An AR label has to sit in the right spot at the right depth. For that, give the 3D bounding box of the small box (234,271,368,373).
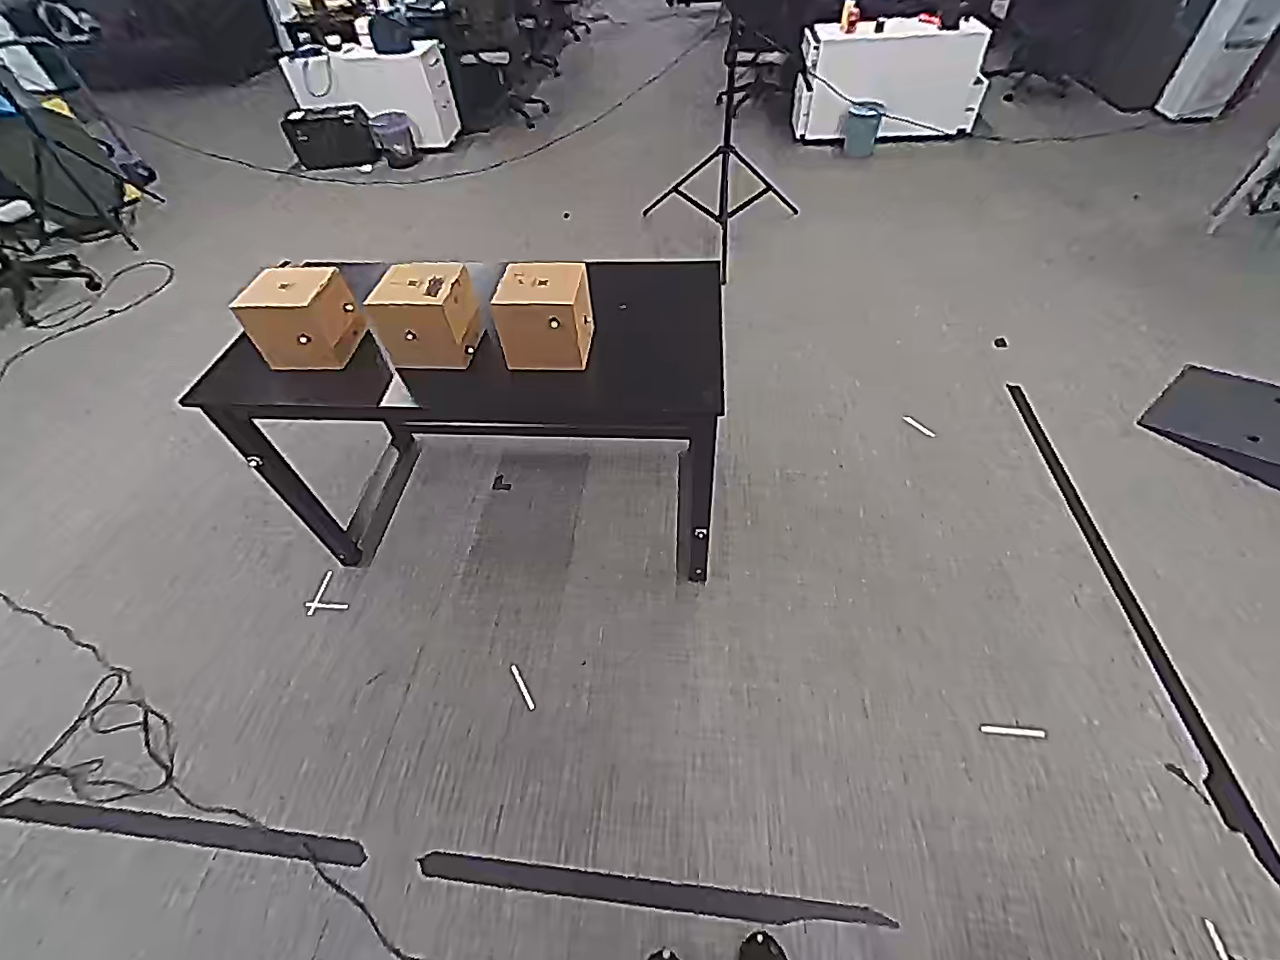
[{"bbox_3d":[-0.769,-0.363,1.253,0.179,0.176,0.168,-1,49,4],"label":"small box"}]

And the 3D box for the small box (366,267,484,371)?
[{"bbox_3d":[-0.475,-0.363,1.230,0.179,0.176,0.168,2,50,7],"label":"small box"}]

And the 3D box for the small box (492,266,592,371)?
[{"bbox_3d":[-0.206,-0.357,1.204,0.179,0.176,0.168,1,49,5],"label":"small box"}]
